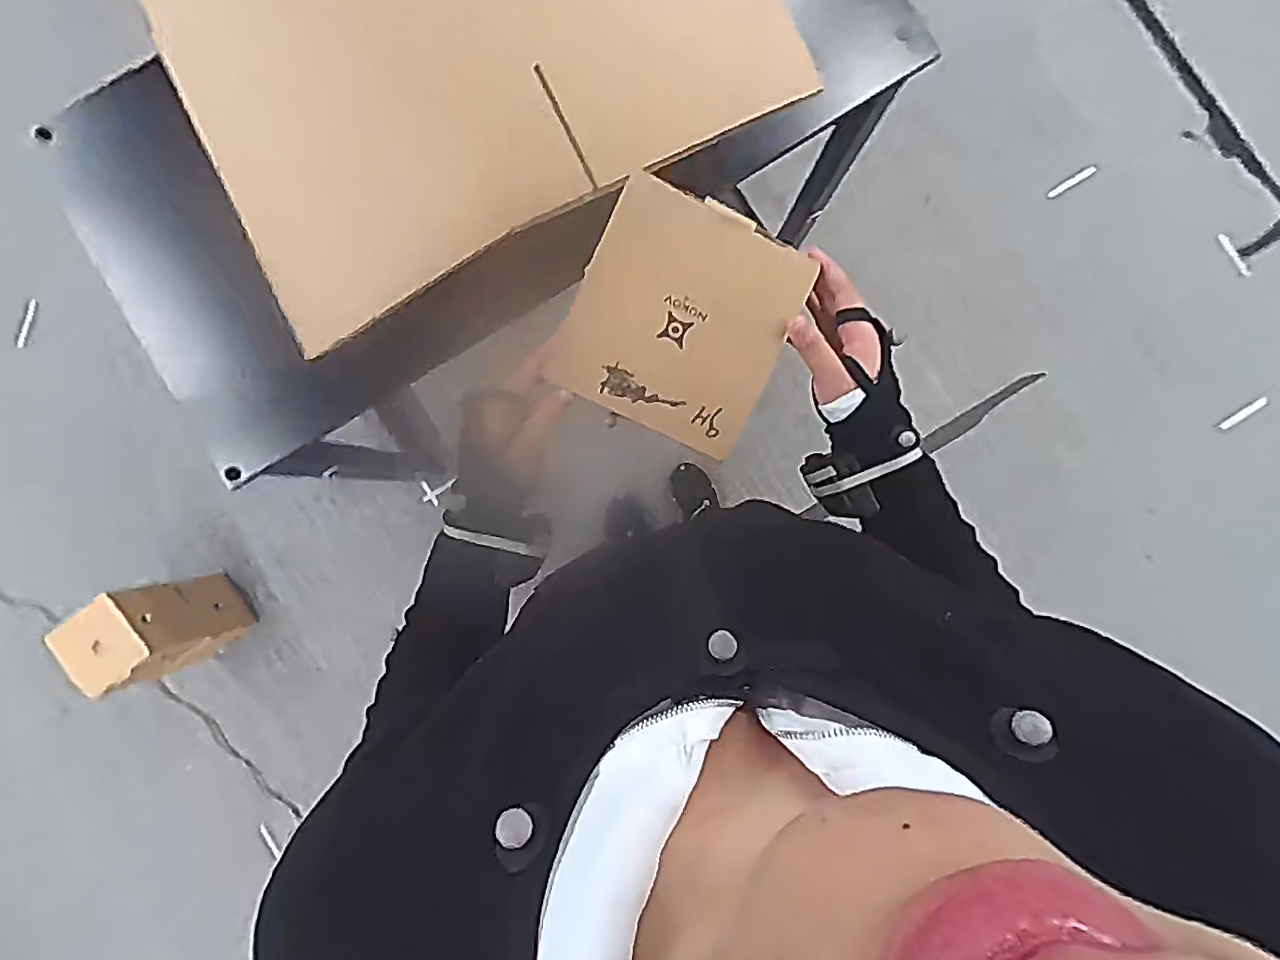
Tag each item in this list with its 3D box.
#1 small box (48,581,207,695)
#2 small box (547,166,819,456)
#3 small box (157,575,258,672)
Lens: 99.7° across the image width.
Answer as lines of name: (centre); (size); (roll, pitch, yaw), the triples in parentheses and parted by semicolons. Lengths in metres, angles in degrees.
small box: (-1.168, 0.354, 1.249); (0.168, 0.176, 0.179); (-38, 87, -2)
small box: (0.030, -0.138, 0.504); (0.168, 0.176, 0.179); (25, 94, -4)
small box: (-1.162, 0.363, 1.411); (0.168, 0.176, 0.179); (-35, 89, -1)
